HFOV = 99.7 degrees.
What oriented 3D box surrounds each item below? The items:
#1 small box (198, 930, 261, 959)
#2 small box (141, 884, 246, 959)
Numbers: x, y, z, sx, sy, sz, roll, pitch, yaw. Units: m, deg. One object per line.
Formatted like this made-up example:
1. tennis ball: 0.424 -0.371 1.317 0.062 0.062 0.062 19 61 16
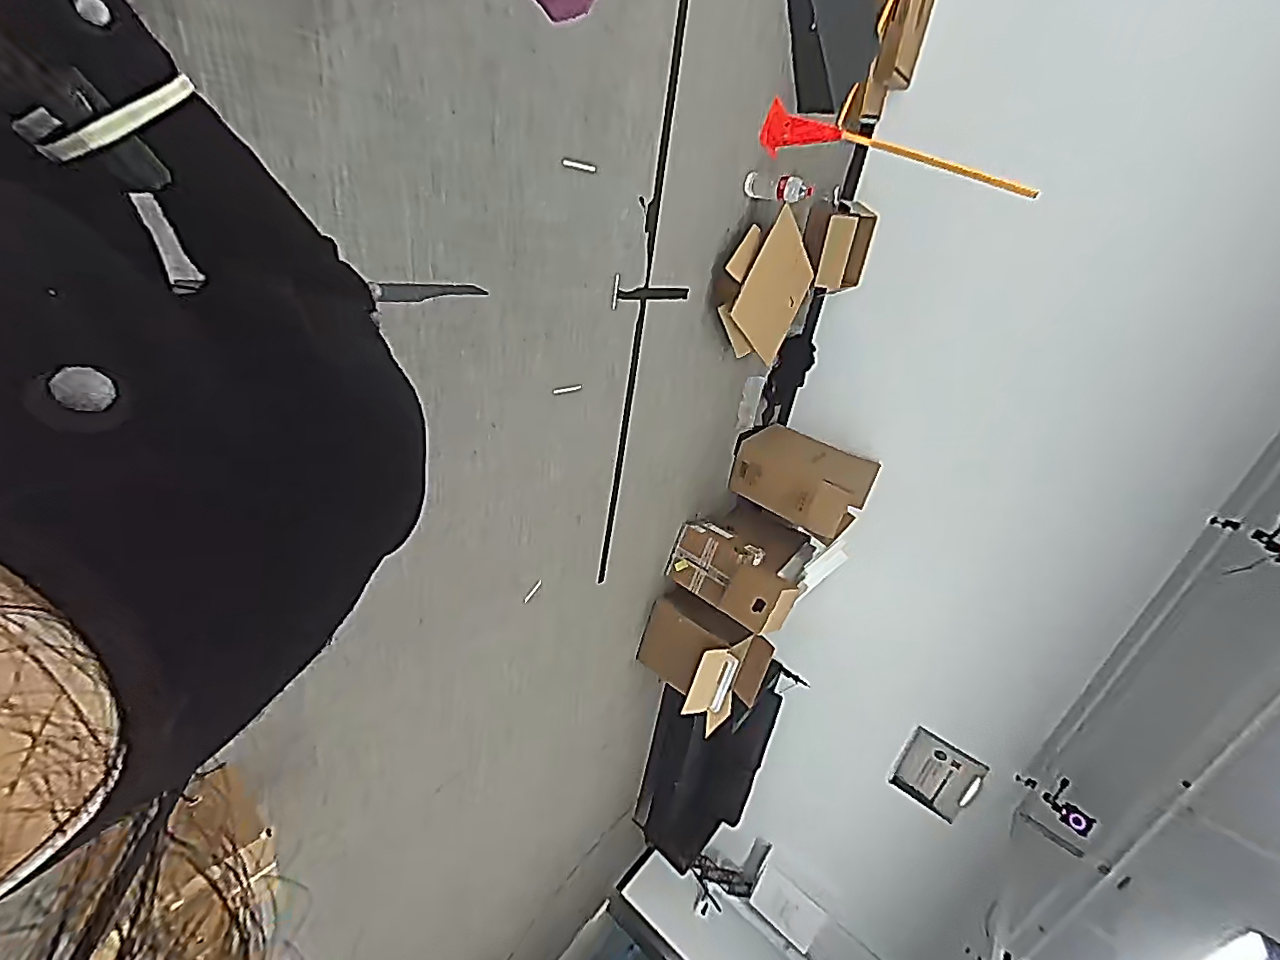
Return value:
1. small box: -1.018 1.271 1.325 0.168 0.176 0.179 -24 130 -47
2. small box: -1.147 1.217 1.408 0.179 0.176 0.168 -24 130 -46
